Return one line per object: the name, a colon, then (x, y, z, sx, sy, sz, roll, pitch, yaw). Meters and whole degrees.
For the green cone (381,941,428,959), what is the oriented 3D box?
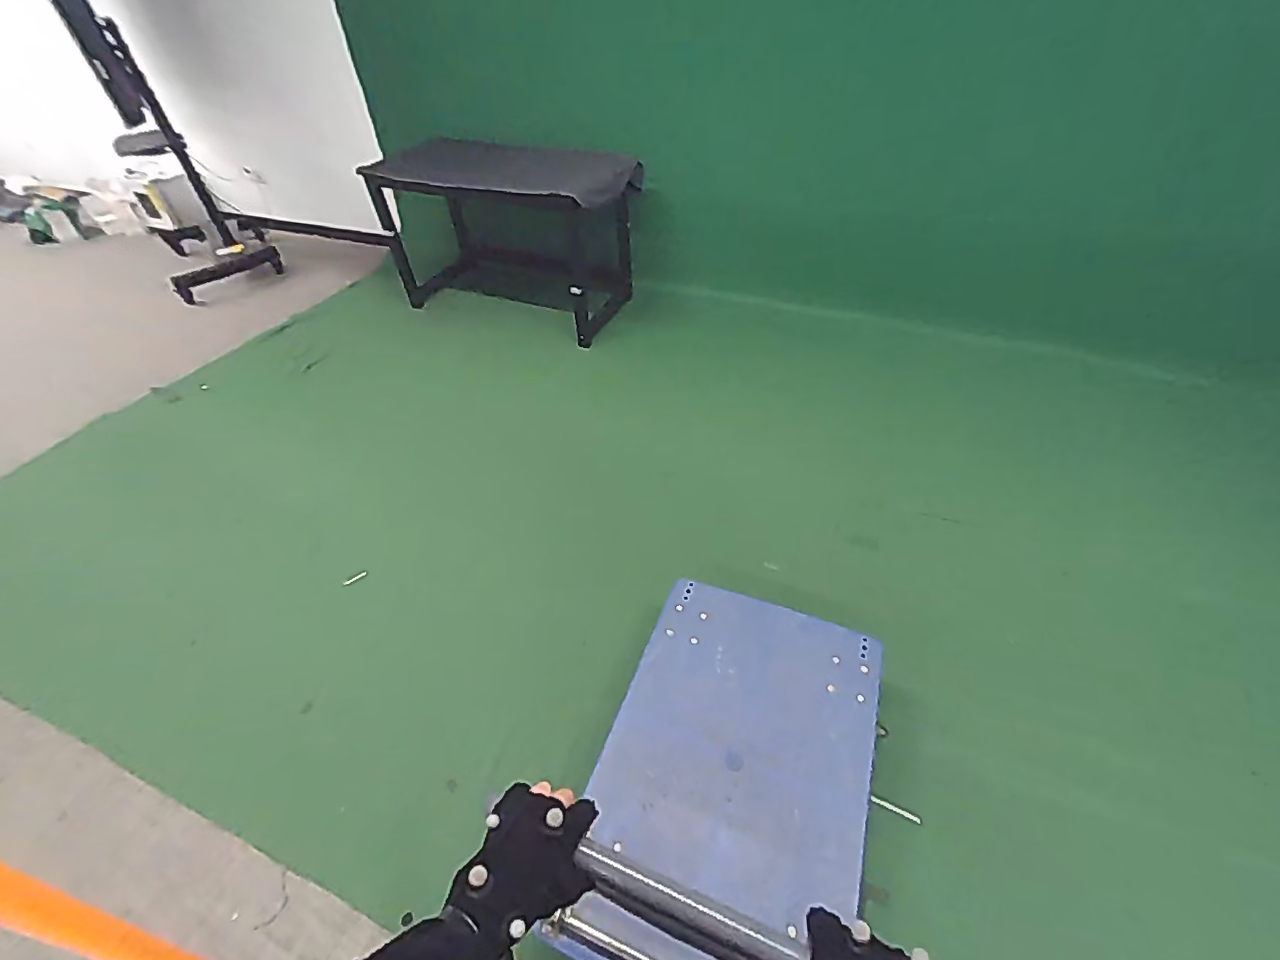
green cone: (-0.480, 0.936, 0.937, 0.202, 0.368, 0.200, 18, 47, 21)
